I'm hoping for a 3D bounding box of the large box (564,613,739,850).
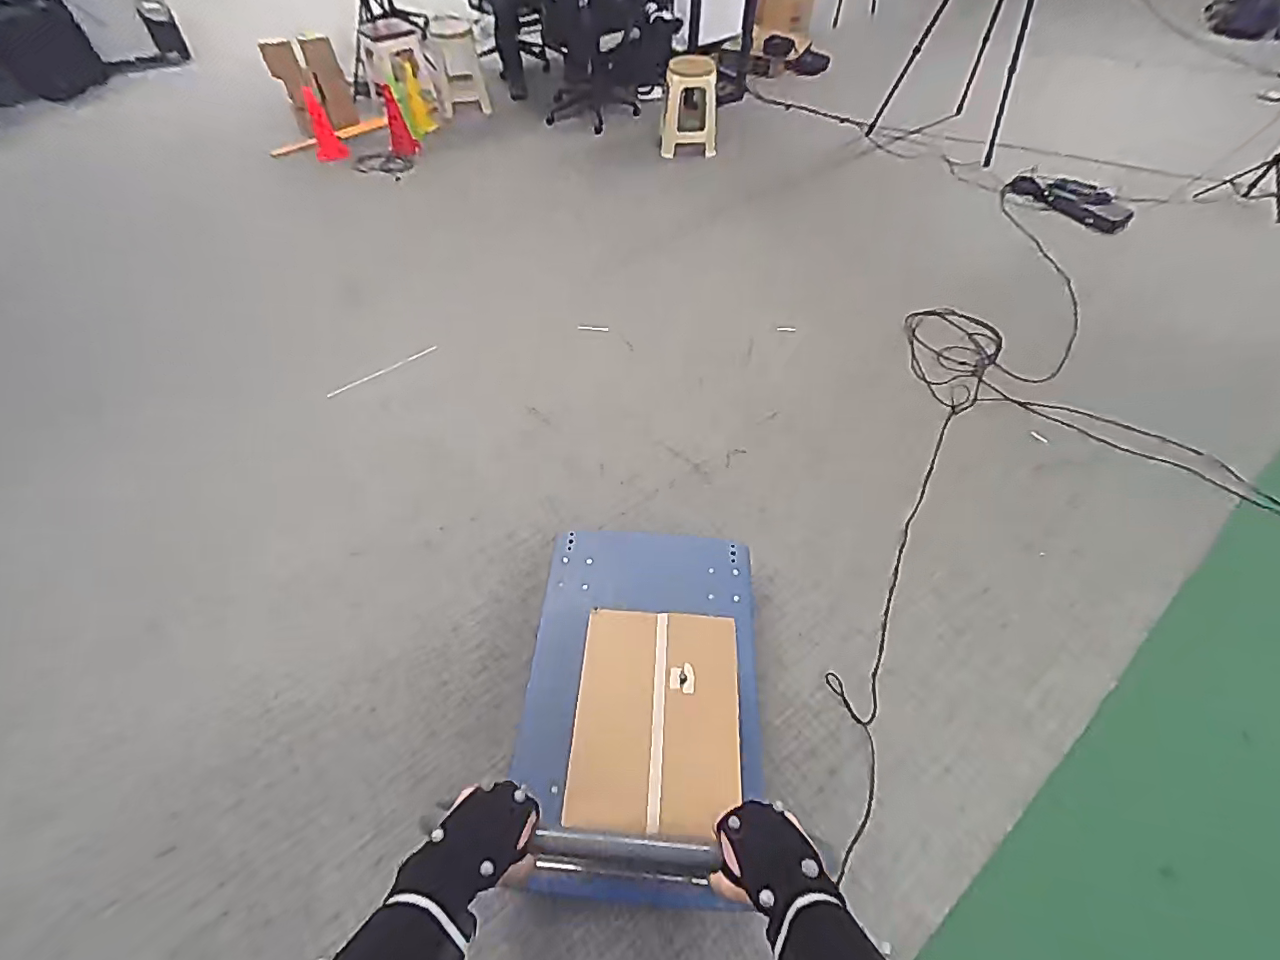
[{"bbox_3d":[0.030,0.548,1.176,0.320,0.320,0.408,4,52,2],"label":"large box"}]
